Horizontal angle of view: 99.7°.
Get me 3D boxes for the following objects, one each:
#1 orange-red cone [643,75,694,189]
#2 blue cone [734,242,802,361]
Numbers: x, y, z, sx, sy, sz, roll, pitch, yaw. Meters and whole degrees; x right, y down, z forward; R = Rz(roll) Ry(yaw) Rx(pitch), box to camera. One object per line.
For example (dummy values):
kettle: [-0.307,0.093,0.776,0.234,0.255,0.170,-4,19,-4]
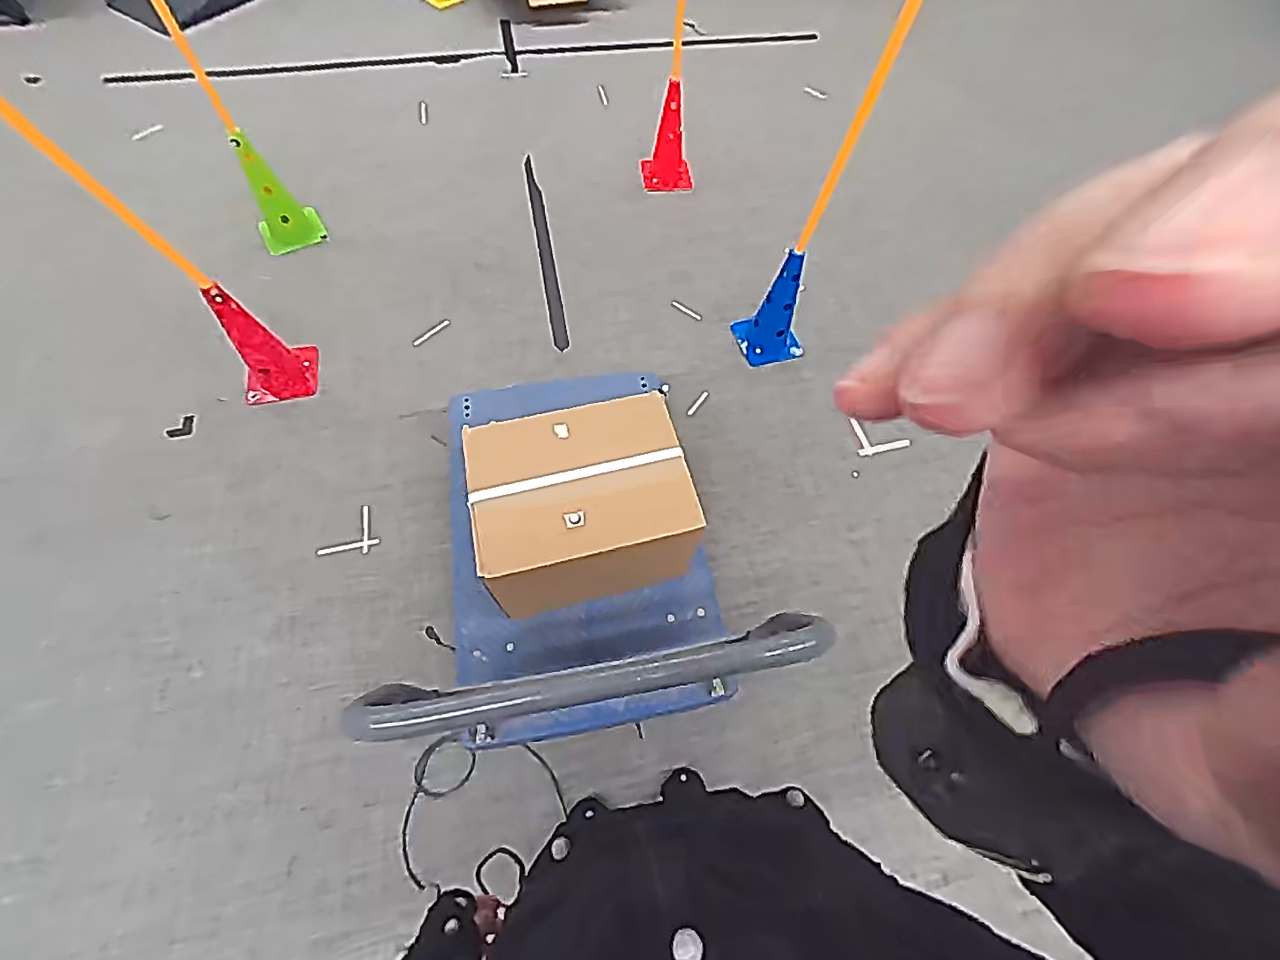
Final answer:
orange-red cone: [0.126,-1.334,2.058,0.199,0.360,0.198,-3,63,-6]
blue cone: [0.437,-0.563,1.685,0.193,0.380,0.192,-13,63,-10]
